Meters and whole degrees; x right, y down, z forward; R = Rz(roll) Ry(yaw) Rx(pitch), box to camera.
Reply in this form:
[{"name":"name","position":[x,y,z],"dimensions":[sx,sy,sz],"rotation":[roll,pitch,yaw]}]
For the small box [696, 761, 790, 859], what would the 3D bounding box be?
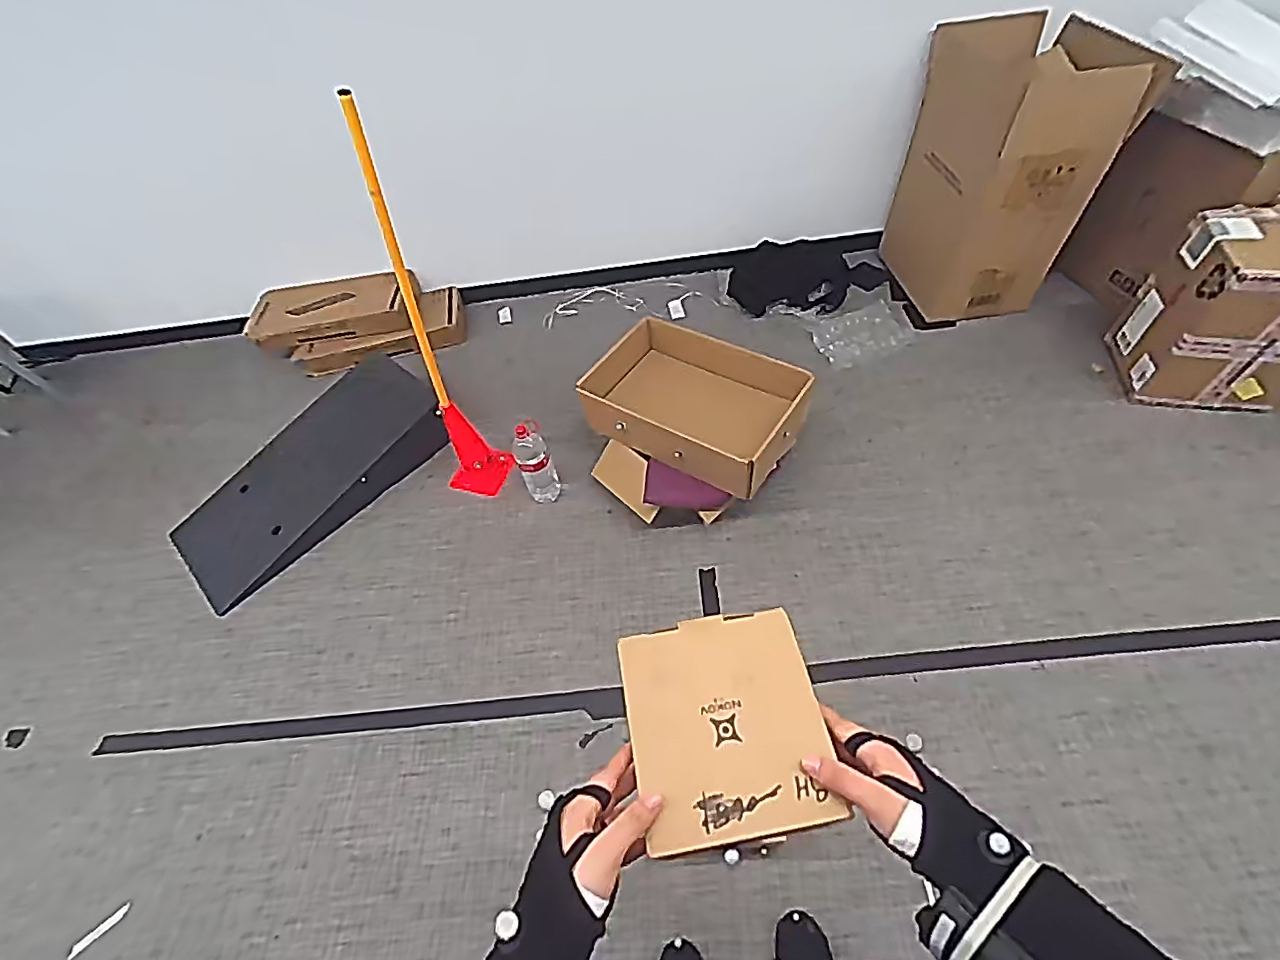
[{"name":"small box","position":[0.221,0.731,1.196],"dimensions":[0.179,0.176,0.168],"rotation":[-7,51,4]}]
